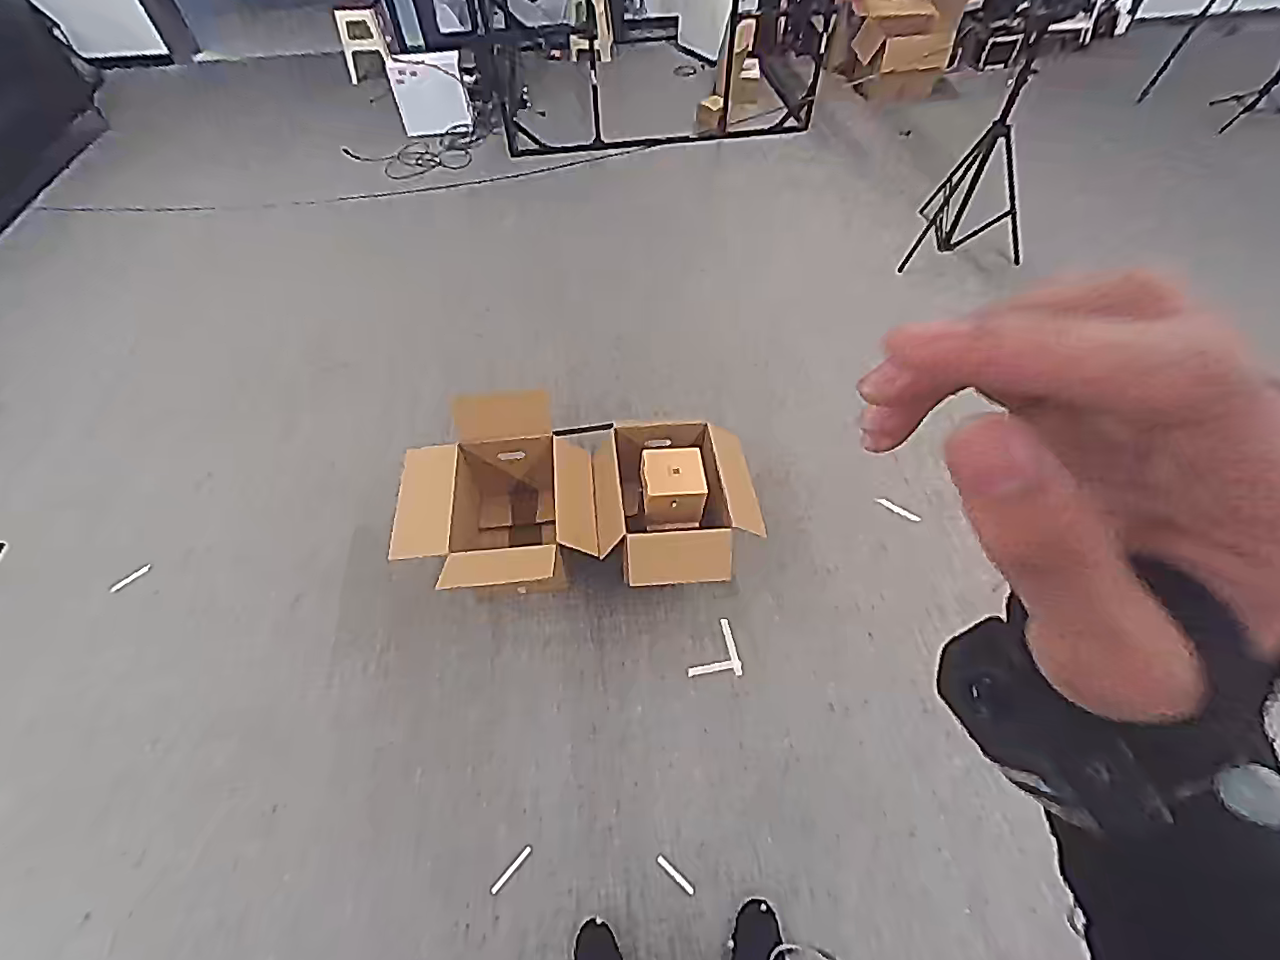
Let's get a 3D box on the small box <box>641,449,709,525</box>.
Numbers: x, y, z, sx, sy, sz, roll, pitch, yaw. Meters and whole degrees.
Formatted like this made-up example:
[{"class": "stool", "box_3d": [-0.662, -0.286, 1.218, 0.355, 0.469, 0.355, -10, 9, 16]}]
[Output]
[{"class": "small box", "box_3d": [0.100, 0.023, 1.635, 0.179, 0.176, 0.168, -4, 56, -4]}]
